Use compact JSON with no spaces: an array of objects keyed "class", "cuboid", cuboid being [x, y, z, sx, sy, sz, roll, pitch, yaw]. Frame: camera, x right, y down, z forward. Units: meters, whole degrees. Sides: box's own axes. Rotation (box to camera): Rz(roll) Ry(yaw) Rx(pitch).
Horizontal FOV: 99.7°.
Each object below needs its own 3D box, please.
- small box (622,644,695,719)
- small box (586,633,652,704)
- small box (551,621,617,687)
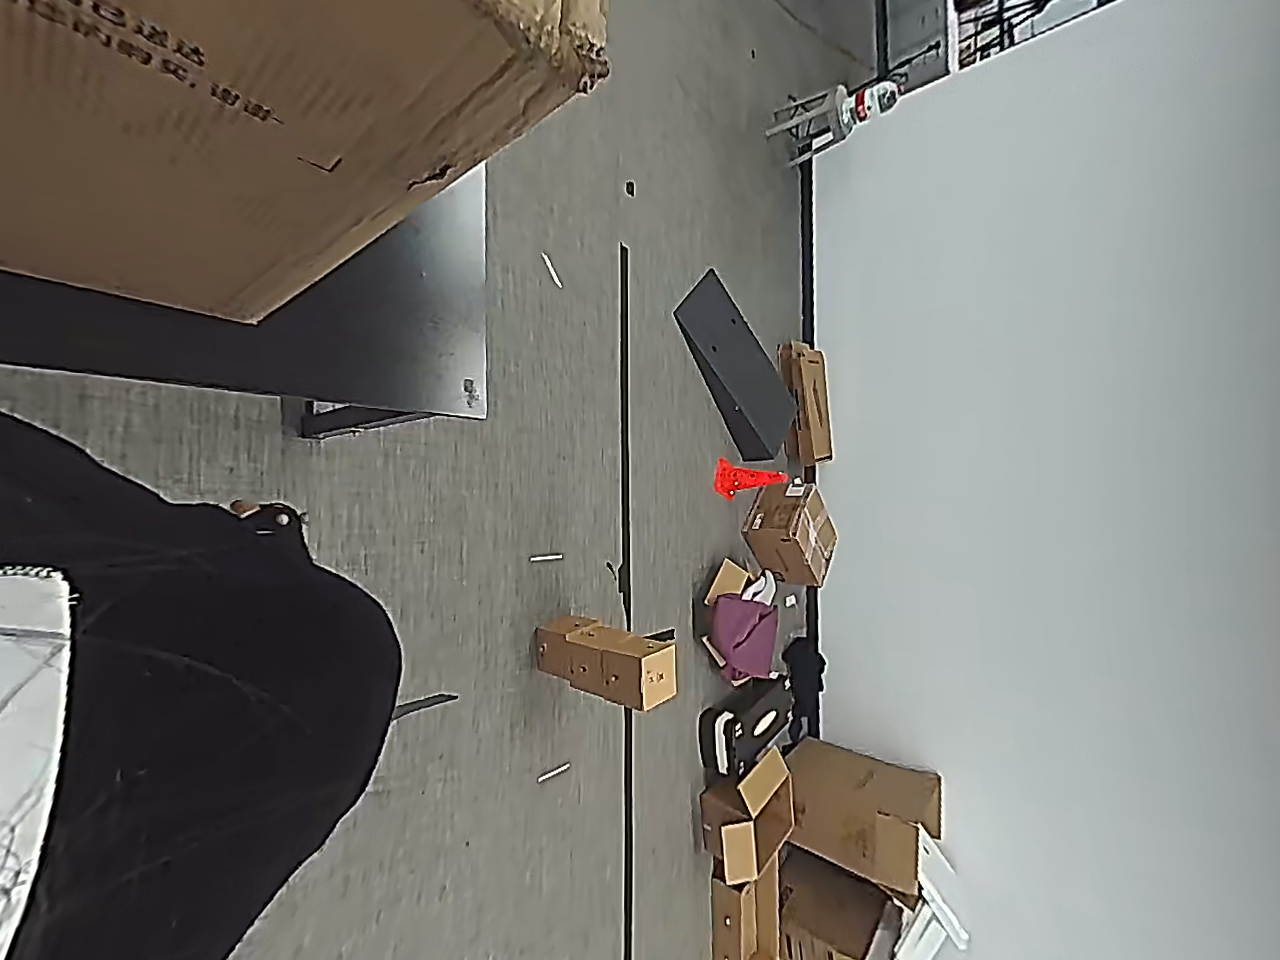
[{"class":"small box","cuboid":[0.060,0.641,1.742,0.179,0.176,0.168,-2,90,-50]},{"class":"small box","cuboid":[-0.071,0.636,1.844,0.179,0.176,0.168,-9,96,-50]},{"class":"small box","cuboid":[-0.197,0.620,1.949,0.179,0.176,0.168,-8,95,-49]}]
